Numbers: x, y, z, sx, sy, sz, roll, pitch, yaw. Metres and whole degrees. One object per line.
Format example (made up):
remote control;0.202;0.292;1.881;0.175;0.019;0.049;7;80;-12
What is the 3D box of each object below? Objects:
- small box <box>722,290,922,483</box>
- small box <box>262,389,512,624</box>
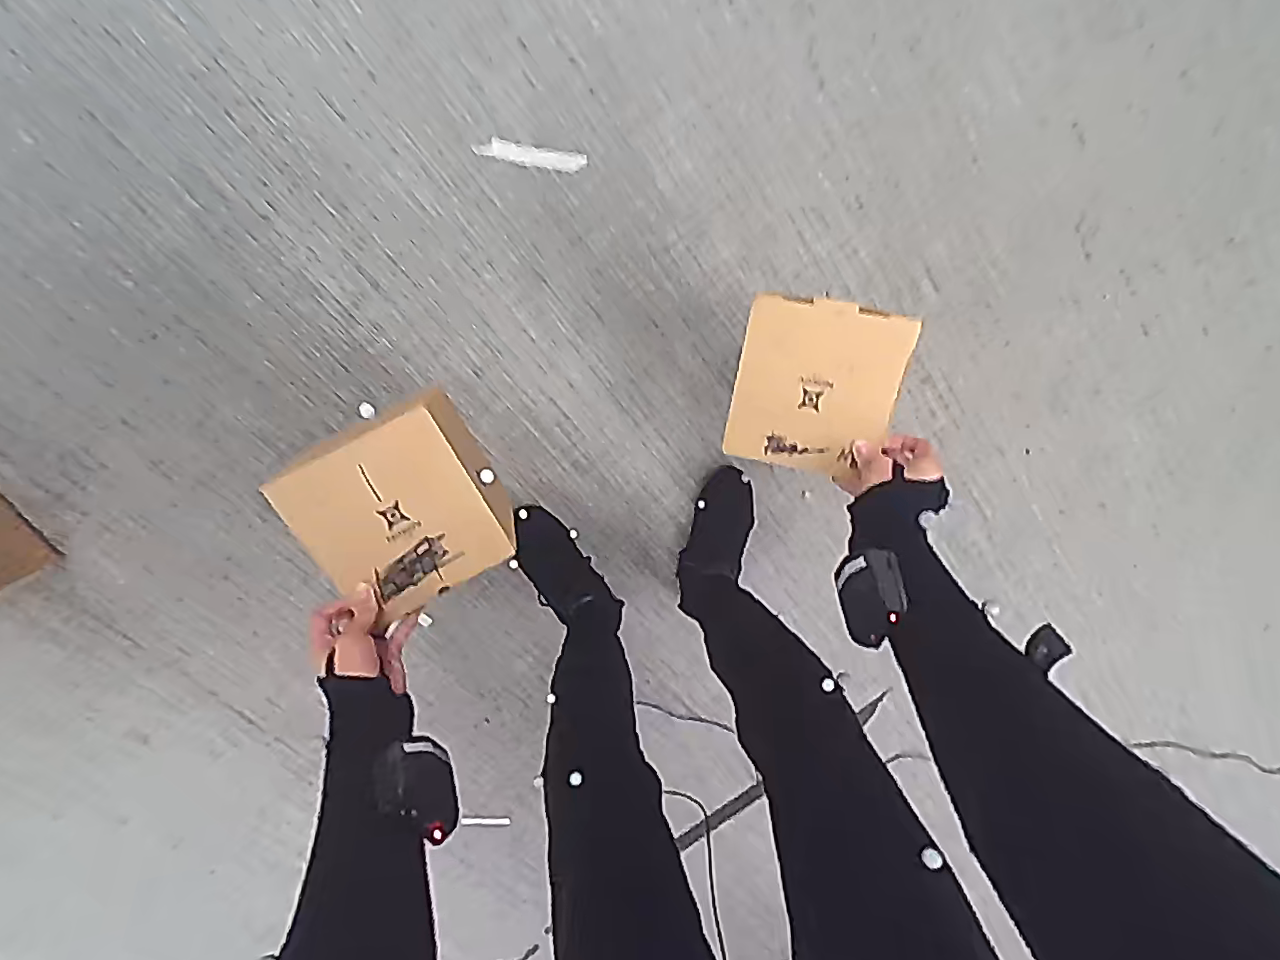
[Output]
small box;0.201;-0.119;0.637;0.168;0.176;0.179;13;111;11
small box;-0.256;0.016;0.599;0.168;0.176;0.179;-29;111;-6
